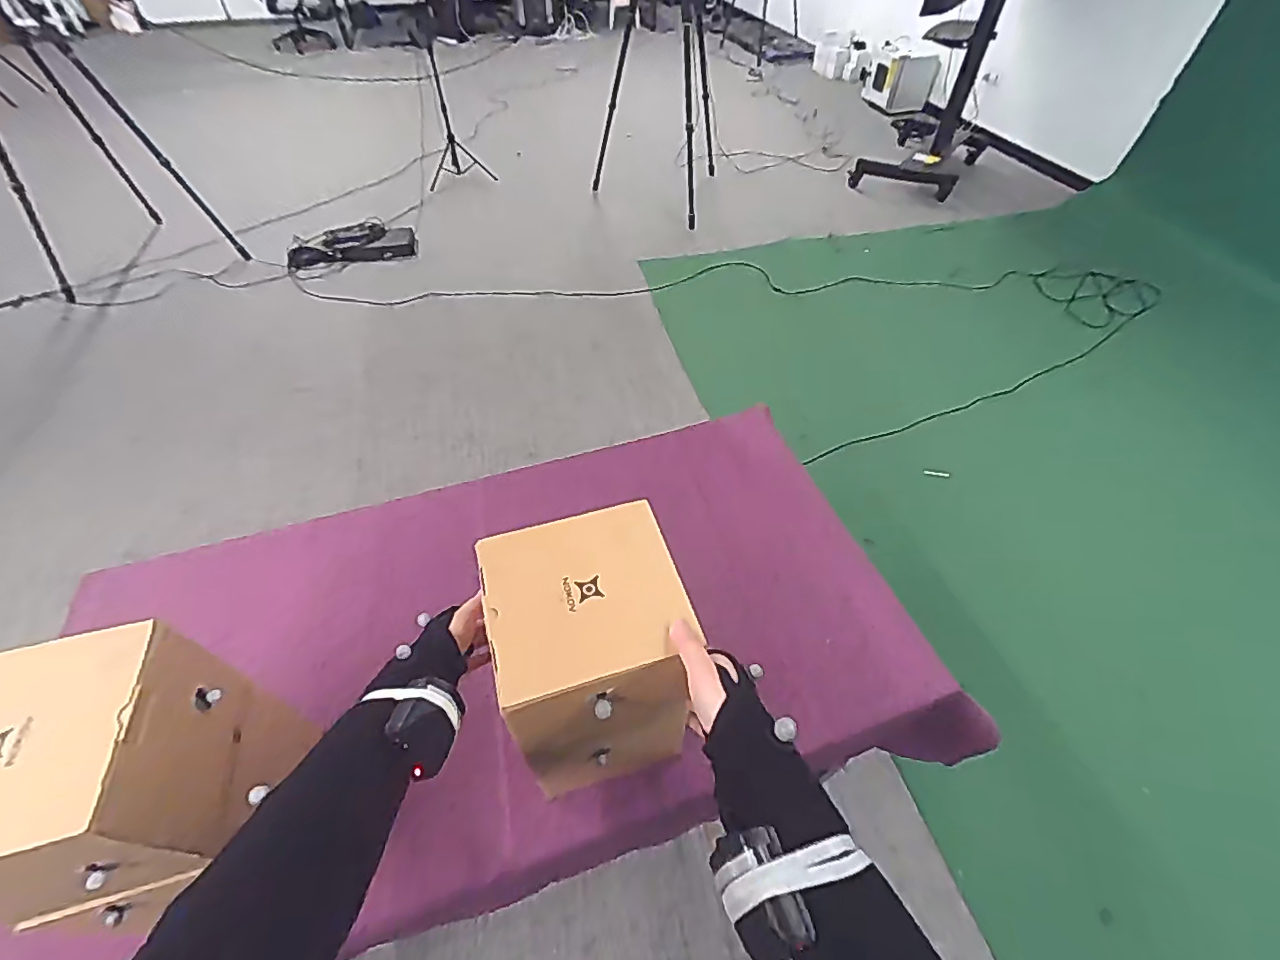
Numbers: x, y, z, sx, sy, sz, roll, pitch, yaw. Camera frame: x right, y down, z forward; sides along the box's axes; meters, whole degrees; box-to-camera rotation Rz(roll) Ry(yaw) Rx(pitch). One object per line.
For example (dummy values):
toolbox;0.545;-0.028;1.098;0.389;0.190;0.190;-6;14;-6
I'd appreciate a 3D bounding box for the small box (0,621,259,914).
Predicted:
small box;-0.473;0.249;0.467;0.179;0.176;0.168;-12;50;-9

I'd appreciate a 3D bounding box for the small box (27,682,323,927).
small box;-0.473;0.355;0.592;0.168;0.176;0.179;-13;50;-10

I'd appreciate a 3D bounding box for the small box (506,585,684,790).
small box;-0.055;0.260;0.671;0.179;0.176;0.168;-13;51;-11
